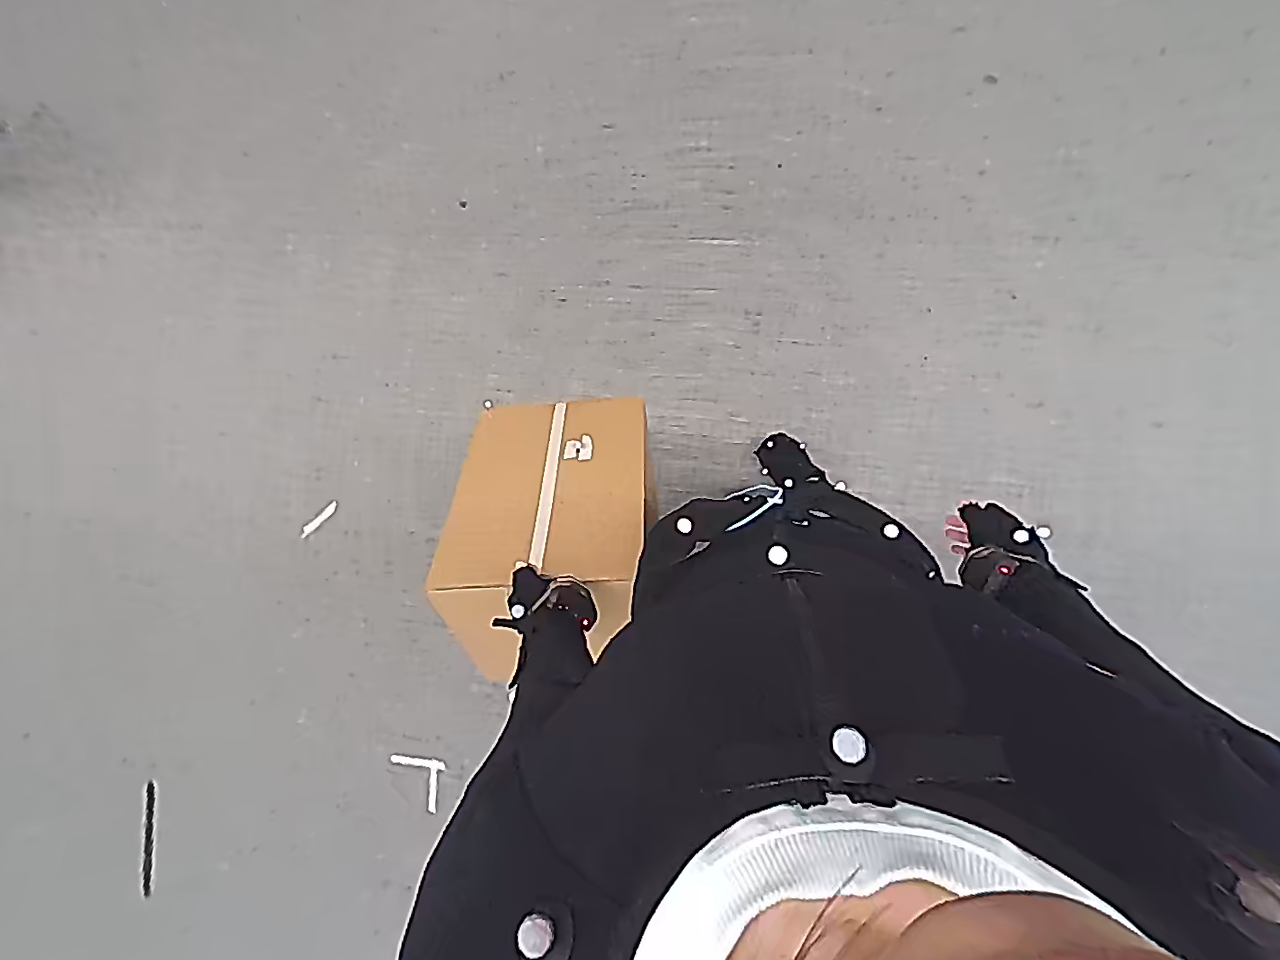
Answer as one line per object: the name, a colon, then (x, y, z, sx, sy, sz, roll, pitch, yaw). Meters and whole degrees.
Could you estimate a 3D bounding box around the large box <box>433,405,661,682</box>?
large box: (-0.134, 0.115, 1.008, 0.320, 0.320, 0.408, -4, 45, 4)
